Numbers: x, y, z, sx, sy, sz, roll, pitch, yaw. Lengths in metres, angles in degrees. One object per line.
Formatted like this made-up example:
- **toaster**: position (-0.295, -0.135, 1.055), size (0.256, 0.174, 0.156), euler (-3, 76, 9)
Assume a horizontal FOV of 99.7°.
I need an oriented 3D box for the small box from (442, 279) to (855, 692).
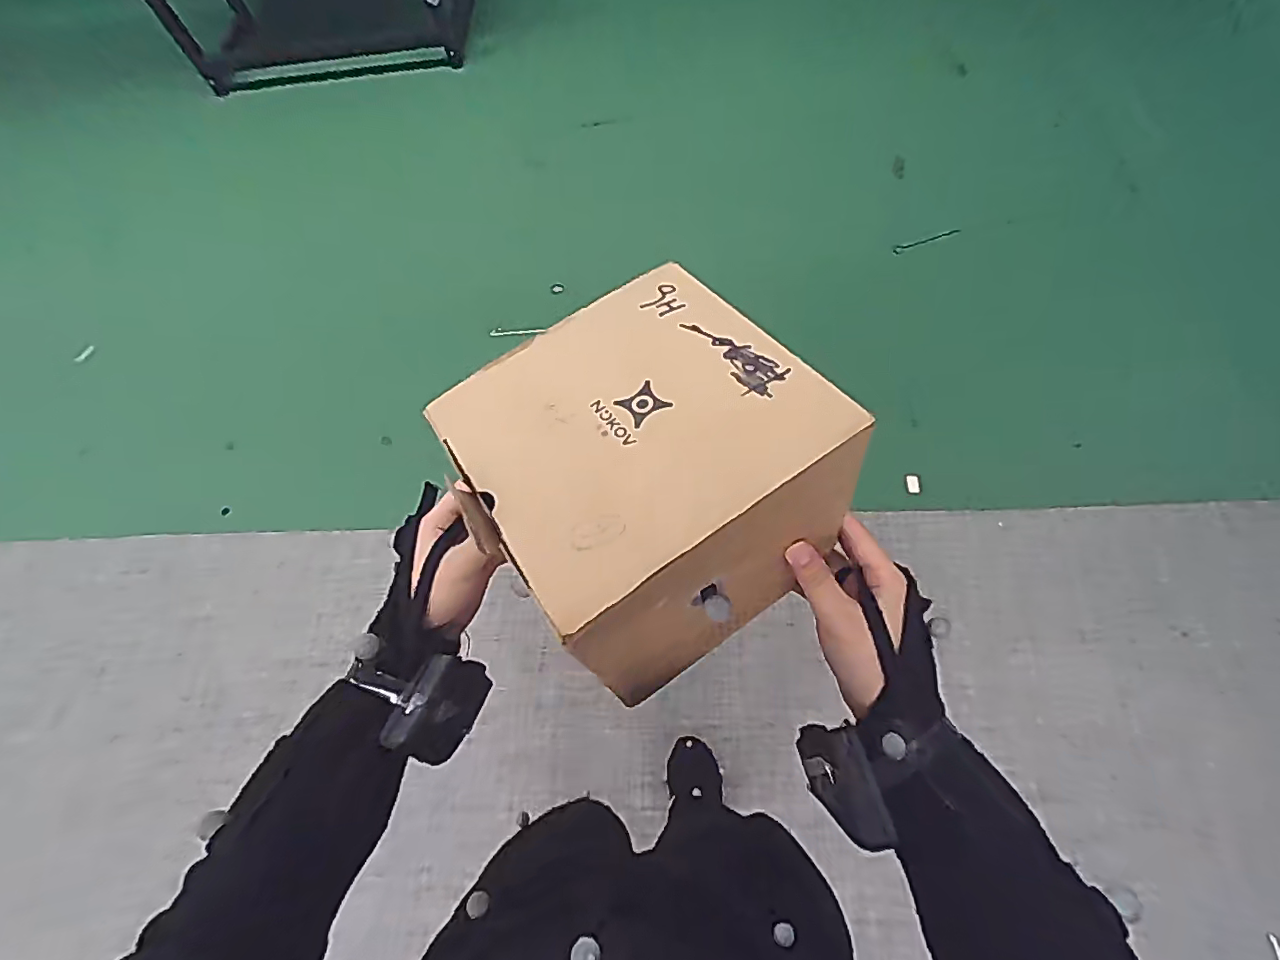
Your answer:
- **small box**: position (0.009, 0.012, 0.357), size (0.179, 0.176, 0.168), euler (-33, 58, -10)
